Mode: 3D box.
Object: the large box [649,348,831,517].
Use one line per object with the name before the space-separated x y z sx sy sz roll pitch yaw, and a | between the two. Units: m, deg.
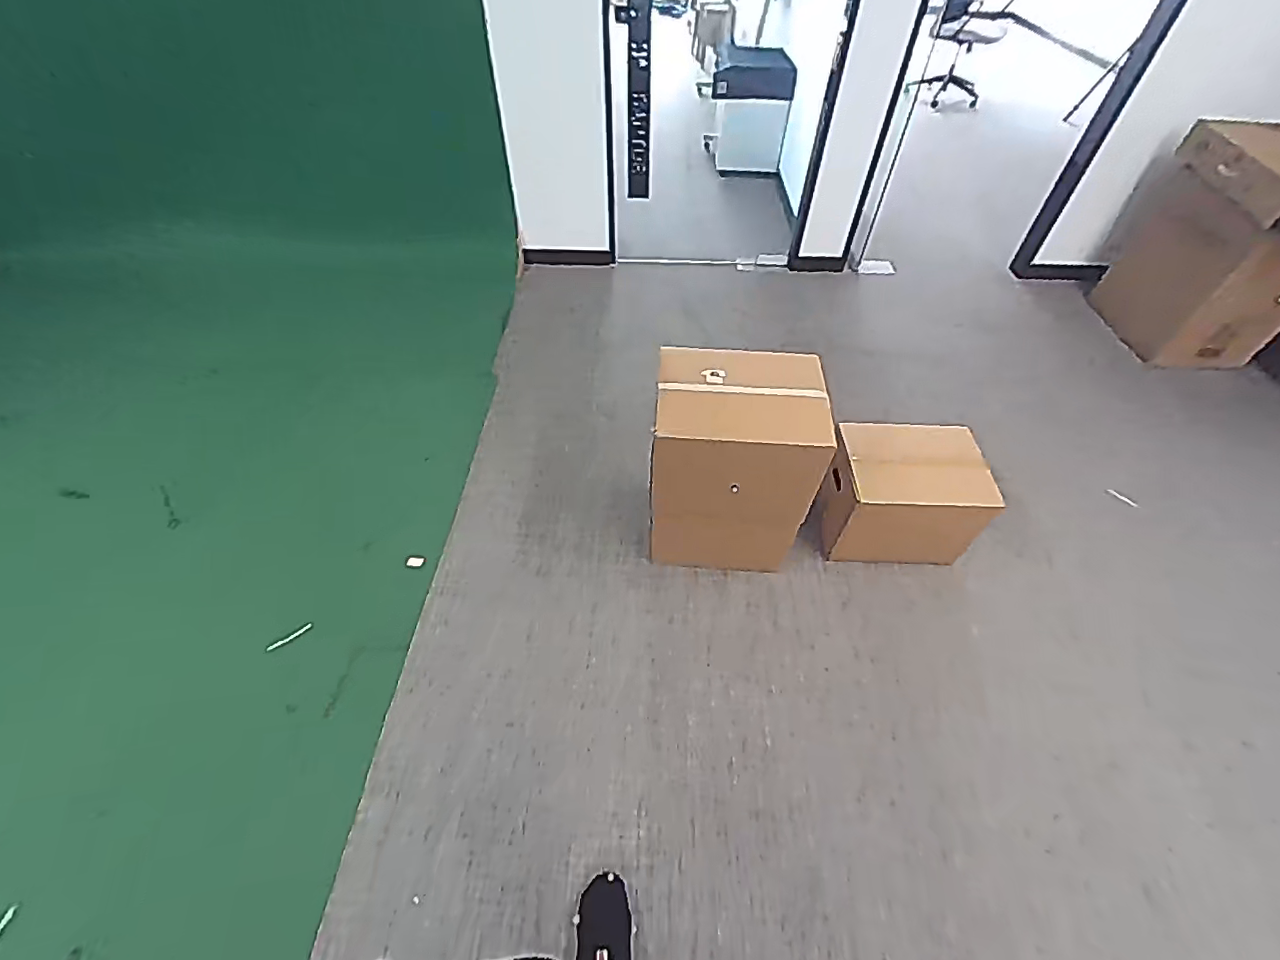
large box | 0.232 -0.117 1.392 0.408 0.320 0.320 3 52 3
